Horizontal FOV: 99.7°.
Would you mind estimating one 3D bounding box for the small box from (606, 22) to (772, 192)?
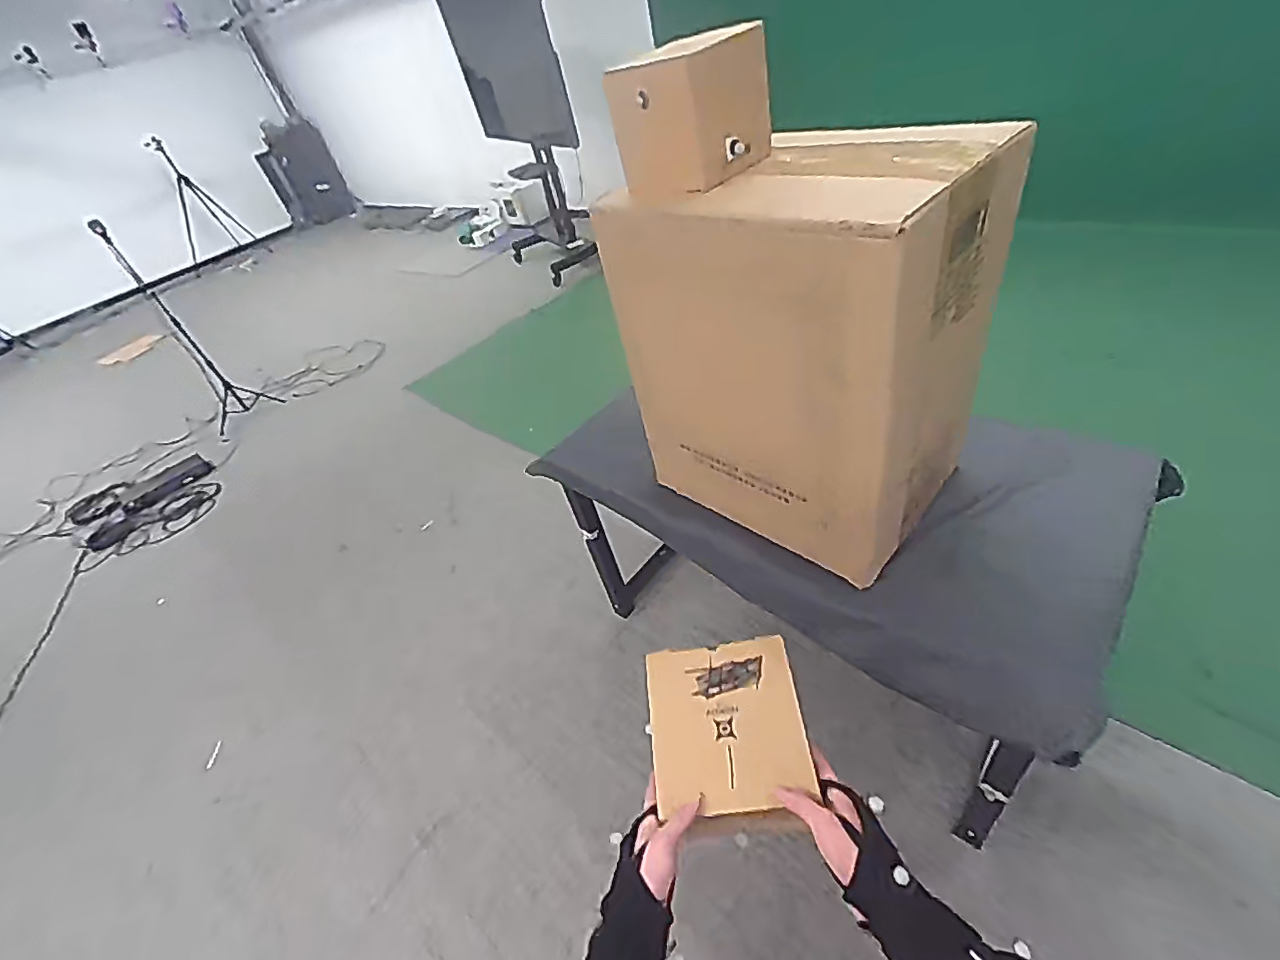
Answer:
[{"bbox_3d":[0.080,-0.556,0.819,0.179,0.176,0.168,29,60,38],"label":"small box"}]

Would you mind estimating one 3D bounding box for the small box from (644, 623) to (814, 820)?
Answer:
[{"bbox_3d":[0.103,0.295,0.654,0.168,0.176,0.179,-10,52,7],"label":"small box"}]
